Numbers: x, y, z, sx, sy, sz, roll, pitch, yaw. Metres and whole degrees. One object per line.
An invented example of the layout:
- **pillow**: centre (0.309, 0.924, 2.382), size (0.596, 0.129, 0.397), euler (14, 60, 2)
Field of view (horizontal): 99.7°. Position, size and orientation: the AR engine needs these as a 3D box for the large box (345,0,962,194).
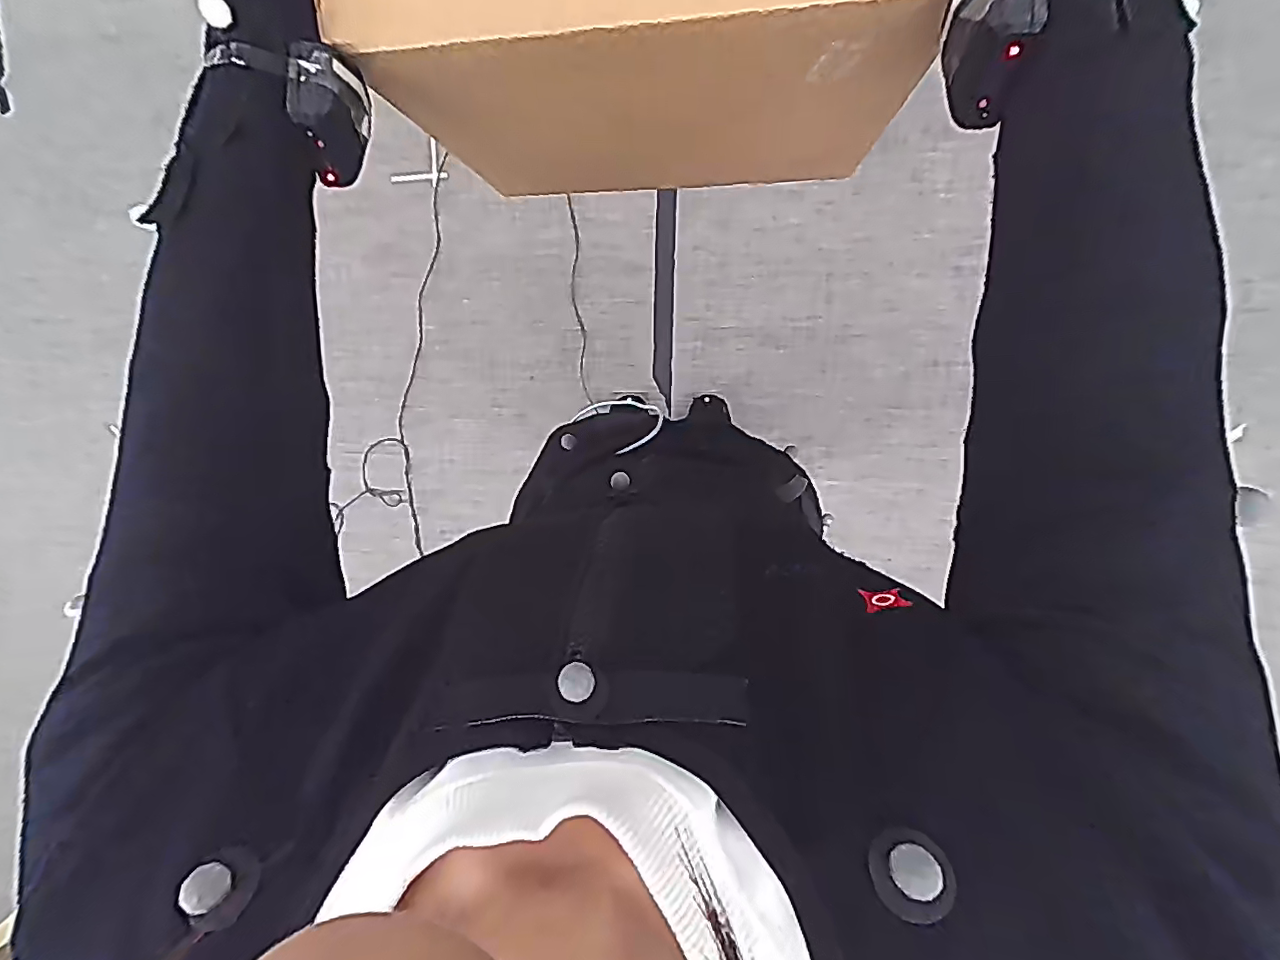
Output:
- **large box**: centre (0.014, -0.464, 0.452), size (0.408, 0.320, 0.320), euler (0, 102, 6)
